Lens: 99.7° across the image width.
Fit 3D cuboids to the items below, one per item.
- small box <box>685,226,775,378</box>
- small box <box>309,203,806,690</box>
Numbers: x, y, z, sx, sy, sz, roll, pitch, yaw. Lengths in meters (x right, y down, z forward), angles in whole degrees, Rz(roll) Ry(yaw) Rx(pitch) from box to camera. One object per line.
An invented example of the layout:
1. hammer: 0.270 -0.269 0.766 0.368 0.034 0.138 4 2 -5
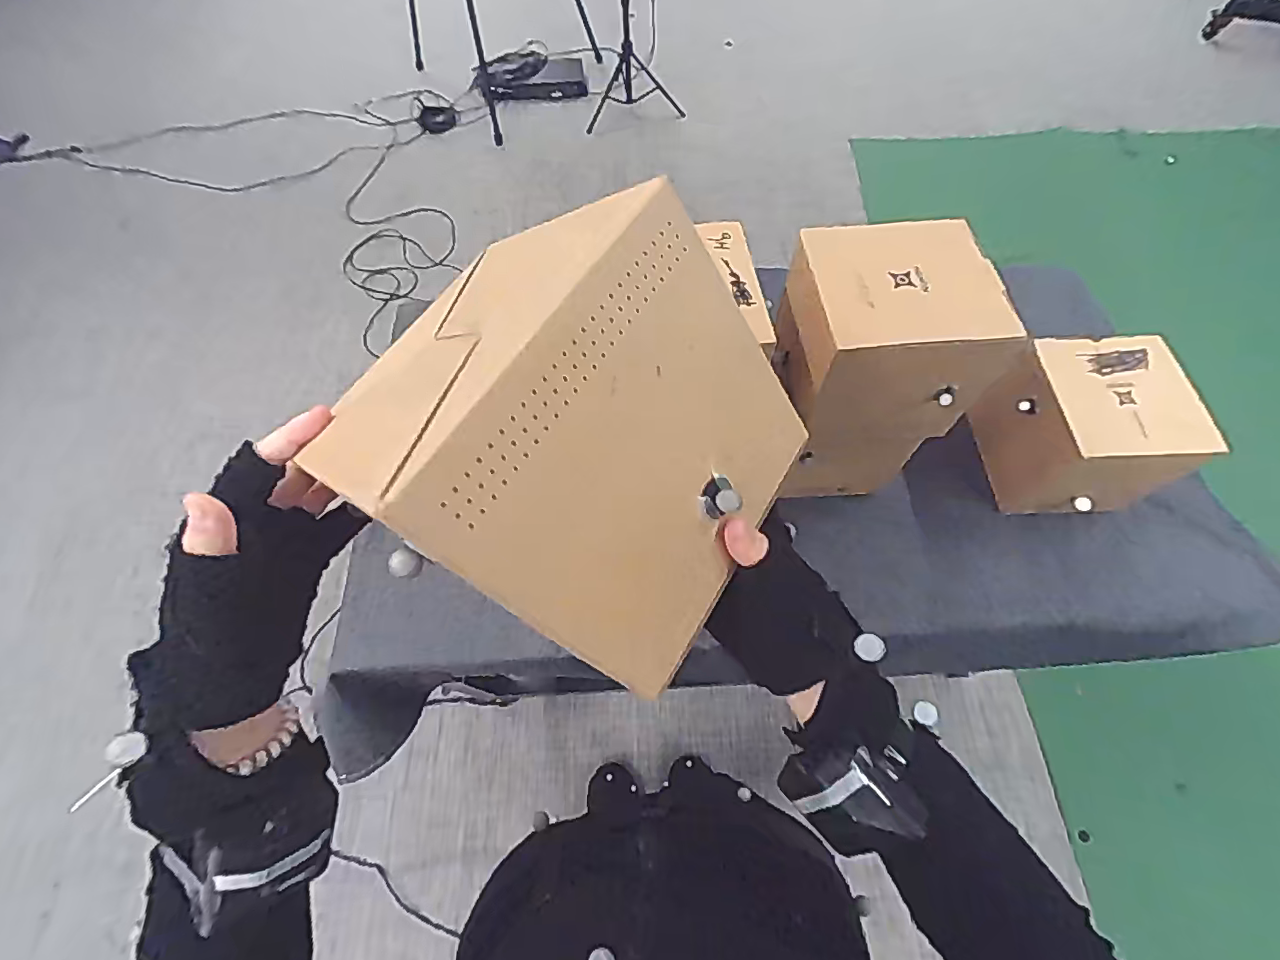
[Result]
1. small box: 0.035 -0.148 0.601 0.179 0.176 0.168 -7 63 -1
2. small box: -0.039 -0.020 0.306 0.168 0.176 0.179 12 61 48
